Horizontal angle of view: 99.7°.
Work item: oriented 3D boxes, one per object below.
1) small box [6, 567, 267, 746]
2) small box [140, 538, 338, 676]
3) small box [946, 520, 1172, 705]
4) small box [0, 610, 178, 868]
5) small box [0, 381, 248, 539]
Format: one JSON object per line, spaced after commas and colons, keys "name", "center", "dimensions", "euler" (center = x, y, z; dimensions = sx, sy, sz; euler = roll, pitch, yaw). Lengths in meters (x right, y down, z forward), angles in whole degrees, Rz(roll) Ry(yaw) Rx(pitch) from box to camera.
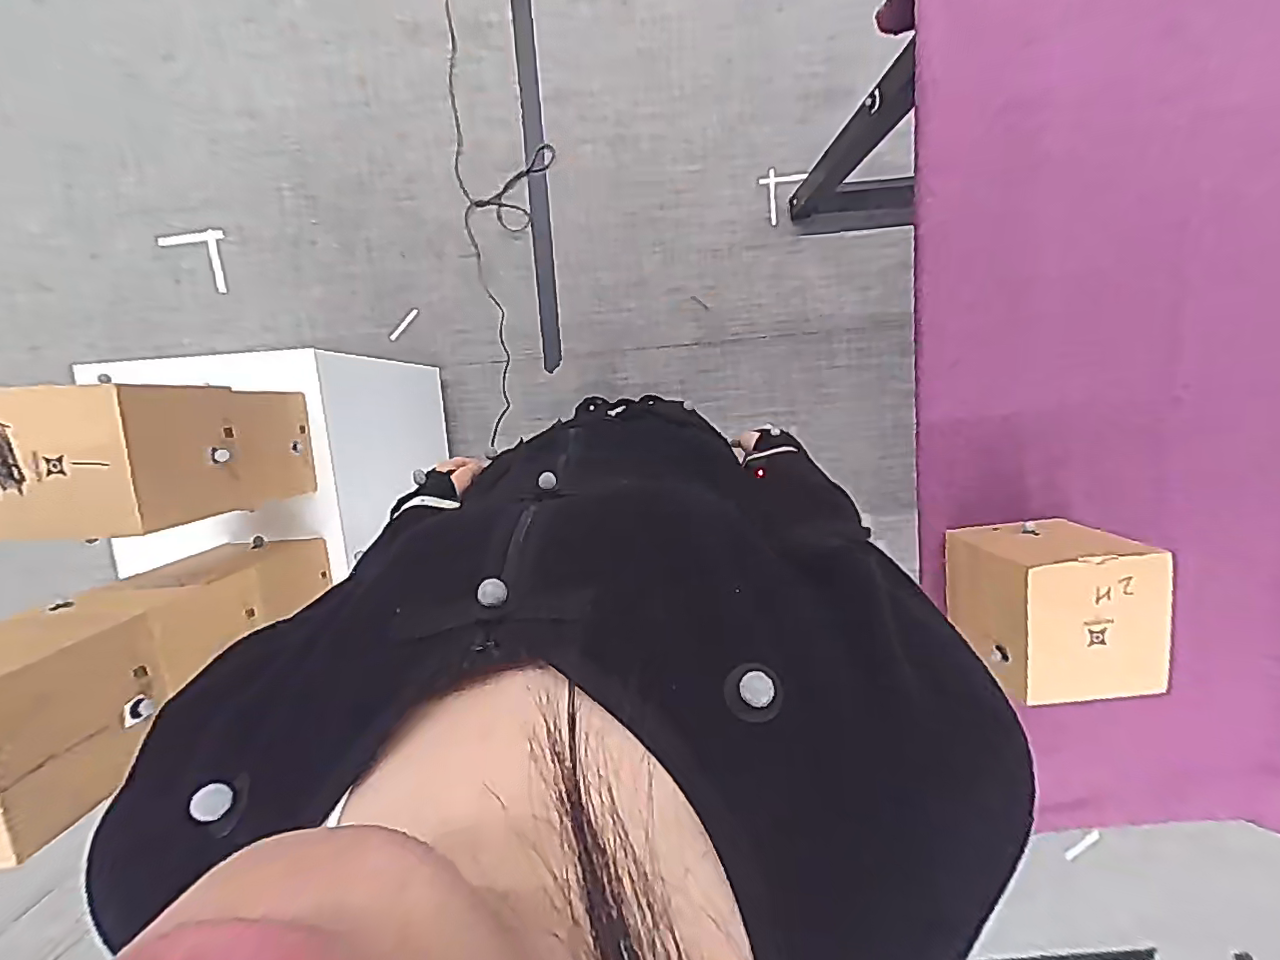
{"name": "small box", "center": [-0.610, 0.215, 0.684], "dimensions": [0.179, 0.176, 0.168], "euler": [-5, 99, 1]}
{"name": "small box", "center": [-0.612, 0.192, 0.846], "dimensions": [0.179, 0.176, 0.168], "euler": [-3, 98, 2]}
{"name": "small box", "center": [0.524, 0.161, 0.700], "dimensions": [0.168, 0.176, 0.179], "euler": [-6, 98, 0]}
{"name": "small box", "center": [-0.613, 0.238, 0.523], "dimensions": [0.179, 0.176, 0.168], "euler": [-5, 99, 1]}
{"name": "small box", "center": [-0.619, -0.030, 0.644], "dimensions": [0.179, 0.176, 0.168], "euler": [-2, 99, -1]}
